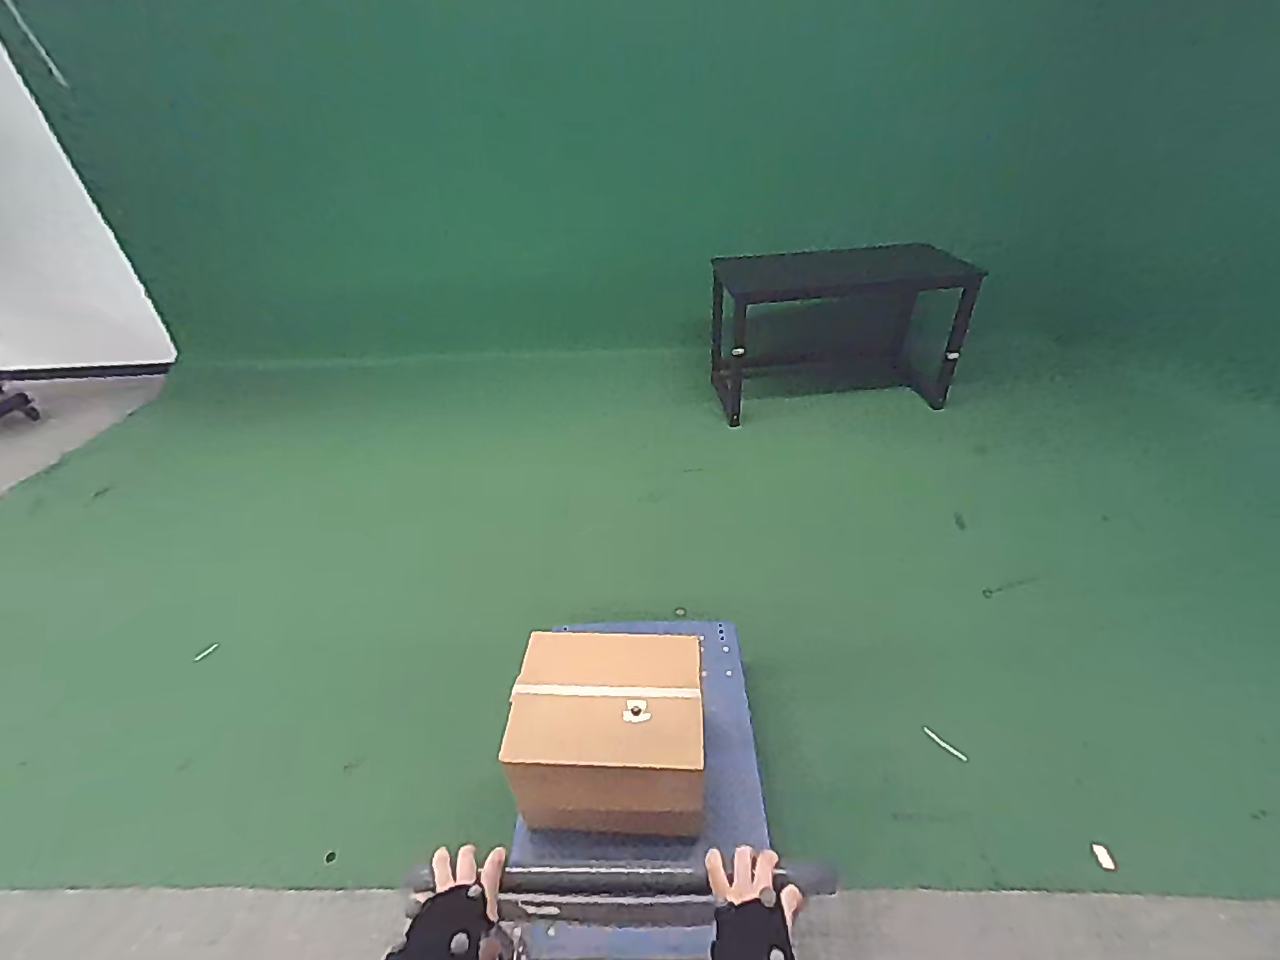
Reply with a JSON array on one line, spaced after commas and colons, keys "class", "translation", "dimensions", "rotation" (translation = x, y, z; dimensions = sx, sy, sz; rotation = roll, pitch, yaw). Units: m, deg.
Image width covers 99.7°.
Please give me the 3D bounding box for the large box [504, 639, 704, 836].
[{"class": "large box", "translation": [-0.066, 0.598, 1.266], "dimensions": [0.408, 0.320, 0.320], "rotation": [1, 36, 3]}]
